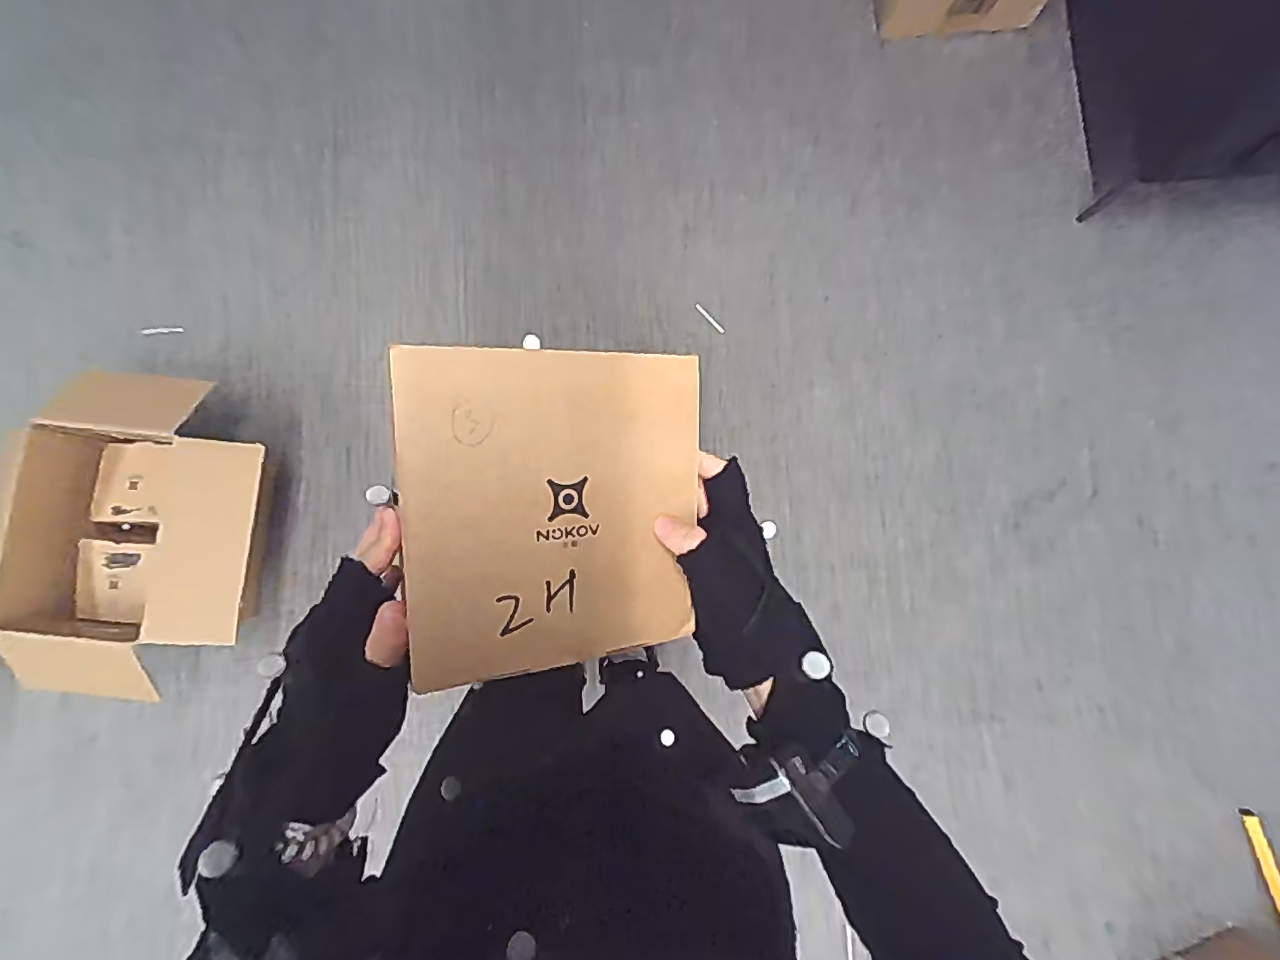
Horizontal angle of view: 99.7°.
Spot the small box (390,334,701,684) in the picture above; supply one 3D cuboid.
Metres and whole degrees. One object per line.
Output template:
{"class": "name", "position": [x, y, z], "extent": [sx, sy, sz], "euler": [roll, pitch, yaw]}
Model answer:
{"class": "small box", "position": [-0.074, 0.004, 0.366], "extent": [0.168, 0.176, 0.179], "euler": [-3, 100, -26]}
